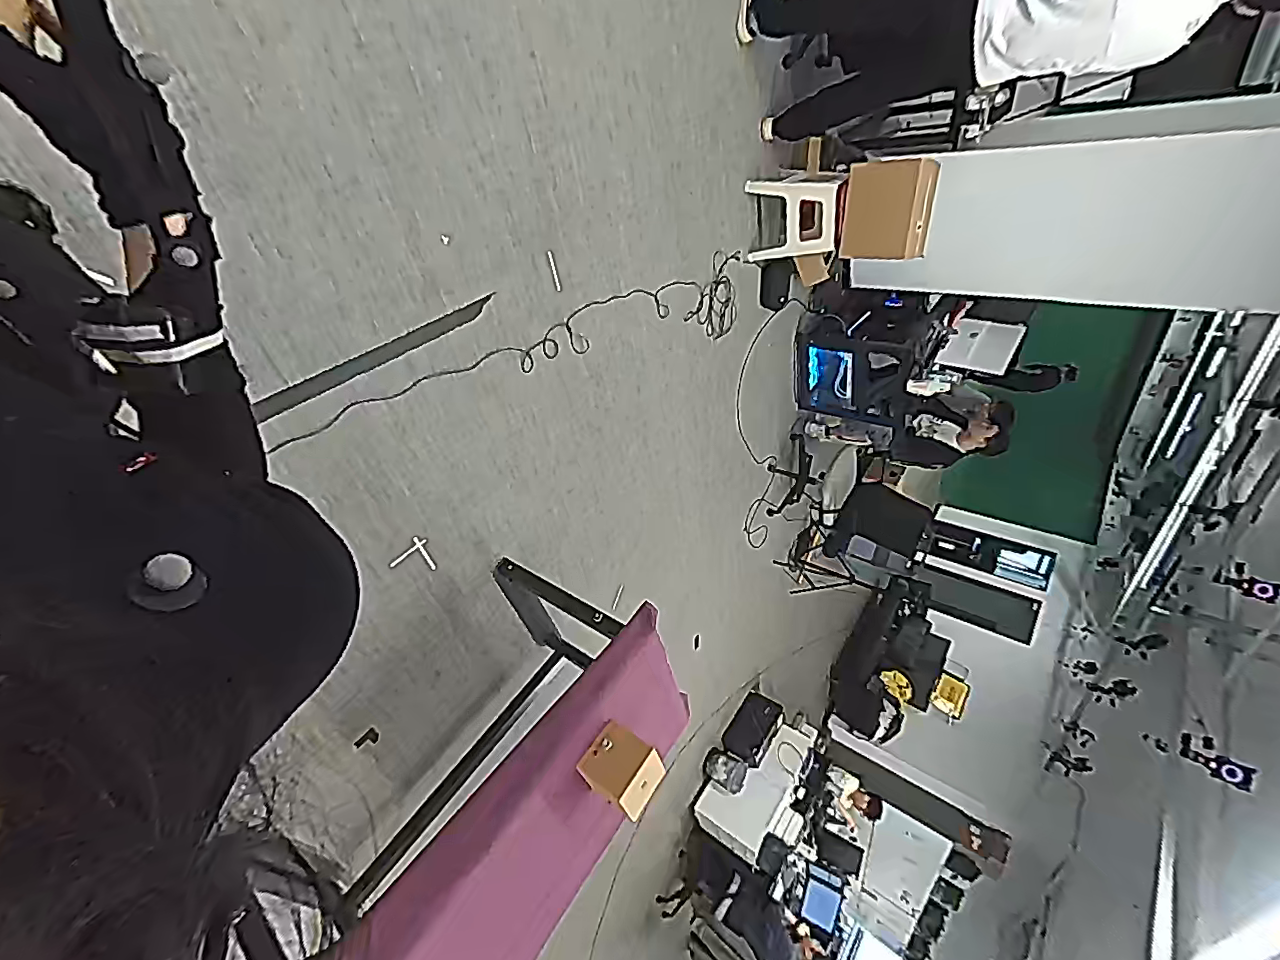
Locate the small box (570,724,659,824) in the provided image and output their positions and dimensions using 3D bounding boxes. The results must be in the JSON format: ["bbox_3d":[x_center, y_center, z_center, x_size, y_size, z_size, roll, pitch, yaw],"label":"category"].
[{"bbox_3d":[-0.072,0.842,1.563,0.168,0.176,0.179,-48,138,-32],"label":"small box"}]
